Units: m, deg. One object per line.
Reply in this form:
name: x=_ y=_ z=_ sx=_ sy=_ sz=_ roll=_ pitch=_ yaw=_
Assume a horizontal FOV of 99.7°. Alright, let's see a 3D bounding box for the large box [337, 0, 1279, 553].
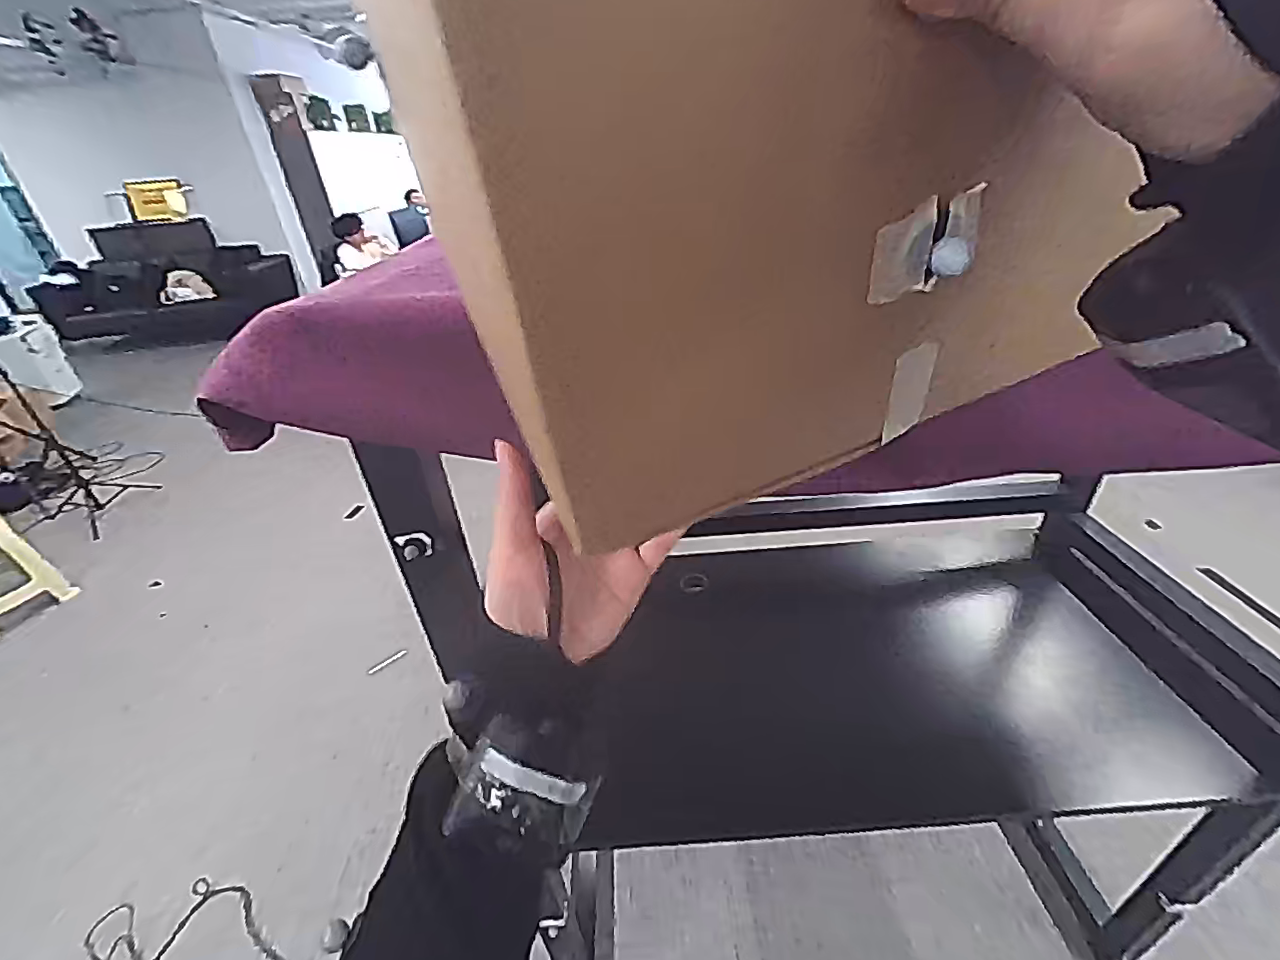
large box: x=0.022 y=-0.244 z=0.266 sx=0.320 sy=0.320 sz=0.408 roll=-21 pitch=47 yaw=-14
